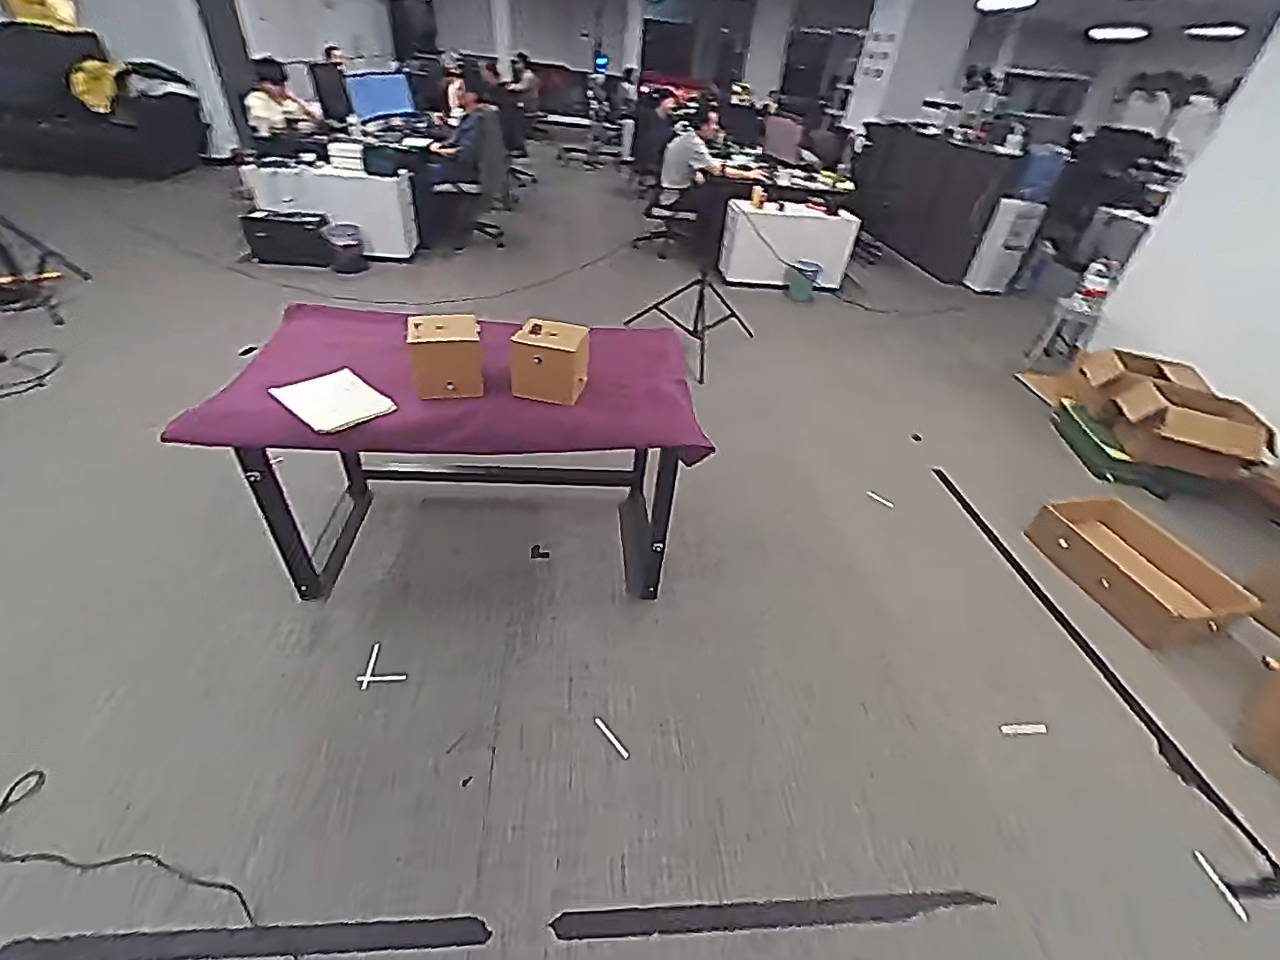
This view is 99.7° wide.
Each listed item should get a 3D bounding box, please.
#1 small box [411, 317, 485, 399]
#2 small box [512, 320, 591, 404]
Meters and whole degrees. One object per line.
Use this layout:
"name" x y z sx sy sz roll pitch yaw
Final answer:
"small box" -0.523 -0.335 1.487 0.179 0.176 0.168 -6 39 -16
"small box" -0.246 -0.330 1.518 0.179 0.176 0.168 11 37 5
